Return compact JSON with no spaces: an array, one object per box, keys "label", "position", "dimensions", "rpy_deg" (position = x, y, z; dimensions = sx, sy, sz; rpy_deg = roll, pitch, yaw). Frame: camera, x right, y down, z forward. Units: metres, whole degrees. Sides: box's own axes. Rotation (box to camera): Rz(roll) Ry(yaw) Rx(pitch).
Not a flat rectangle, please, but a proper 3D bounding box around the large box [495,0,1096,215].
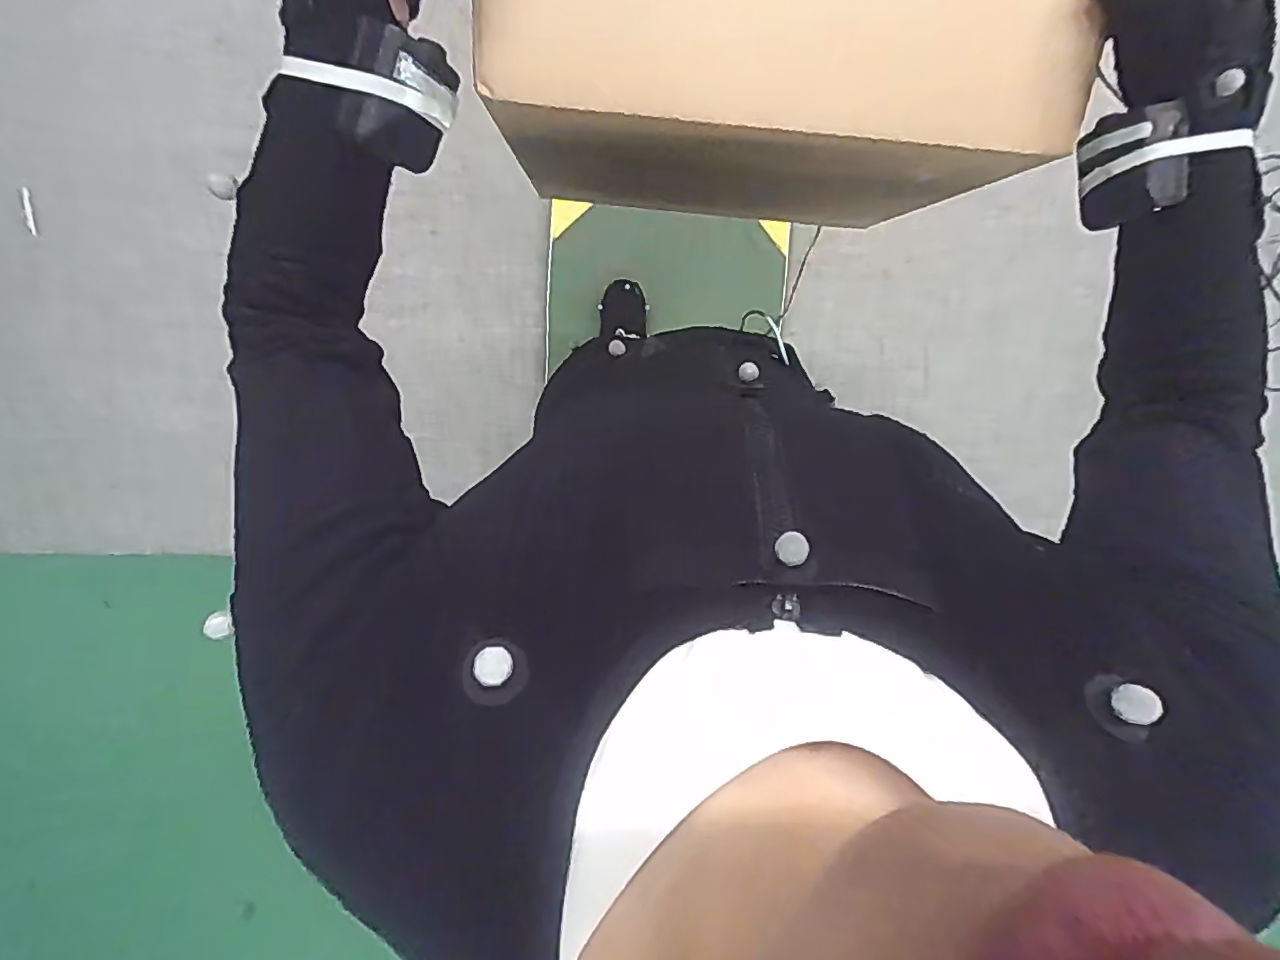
[{"label":"large box","position":[0.100,-0.436,0.469],"dimensions":[0.408,0.320,0.320],"rpy_deg":[3,107,-5]}]
